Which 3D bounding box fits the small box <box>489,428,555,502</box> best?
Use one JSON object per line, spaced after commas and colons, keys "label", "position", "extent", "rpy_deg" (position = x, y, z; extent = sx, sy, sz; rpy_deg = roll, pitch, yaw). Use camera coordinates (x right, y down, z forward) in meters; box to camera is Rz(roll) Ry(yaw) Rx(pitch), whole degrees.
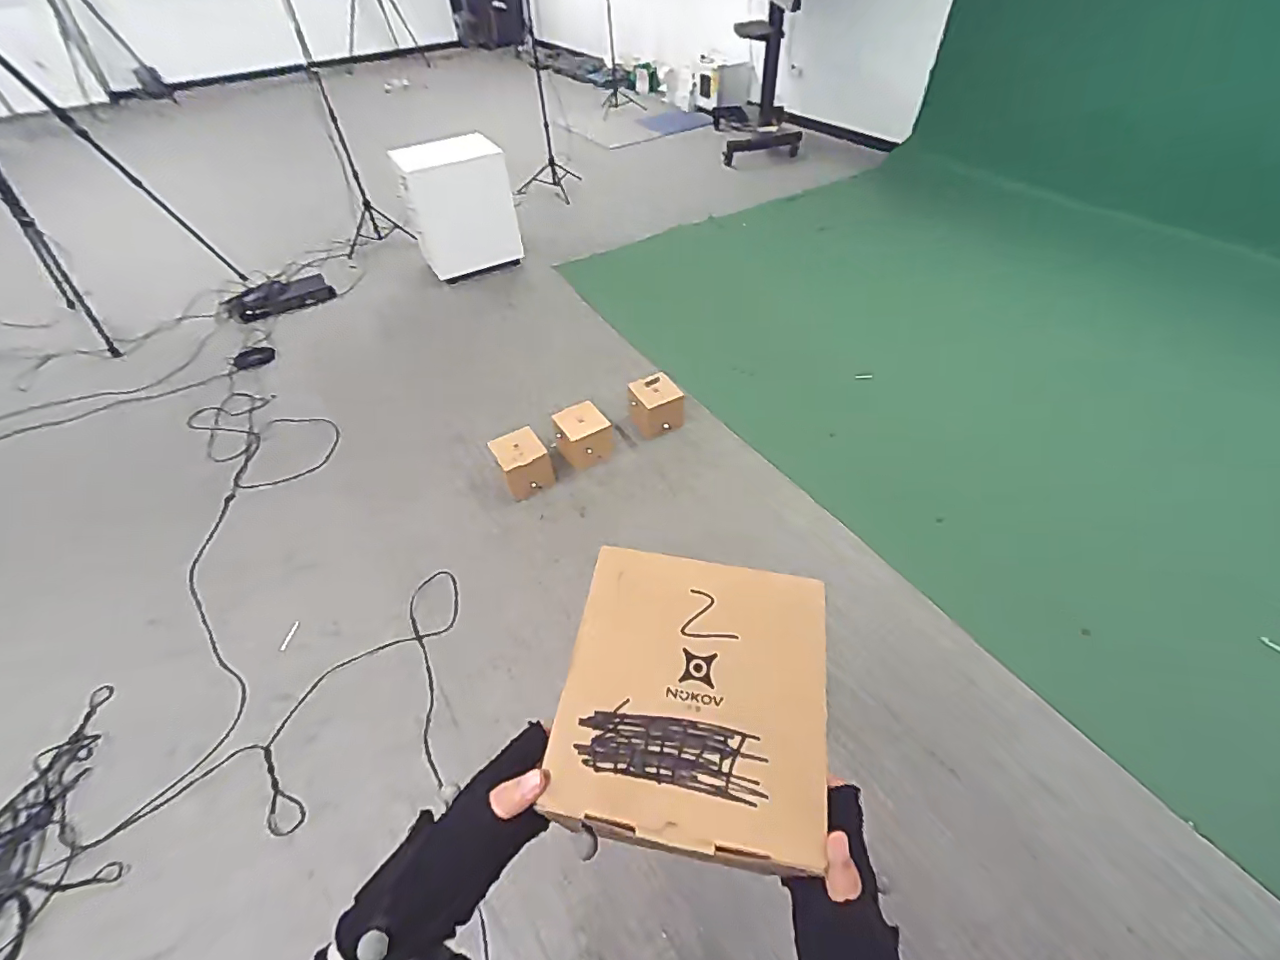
{"label": "small box", "position": [-0.430, -0.053, 1.975], "extent": [0.168, 0.176, 0.179], "rpy_deg": [-27, 52, -19]}

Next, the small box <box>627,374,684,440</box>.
{"label": "small box", "position": [0.060, -0.293, 2.176], "extent": [0.168, 0.176, 0.179], "rpy_deg": [-24, 51, -18]}

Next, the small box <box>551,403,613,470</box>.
{"label": "small box", "position": [-0.217, -0.160, 2.068], "extent": [0.168, 0.176, 0.179], "rpy_deg": [-27, 51, -21]}
